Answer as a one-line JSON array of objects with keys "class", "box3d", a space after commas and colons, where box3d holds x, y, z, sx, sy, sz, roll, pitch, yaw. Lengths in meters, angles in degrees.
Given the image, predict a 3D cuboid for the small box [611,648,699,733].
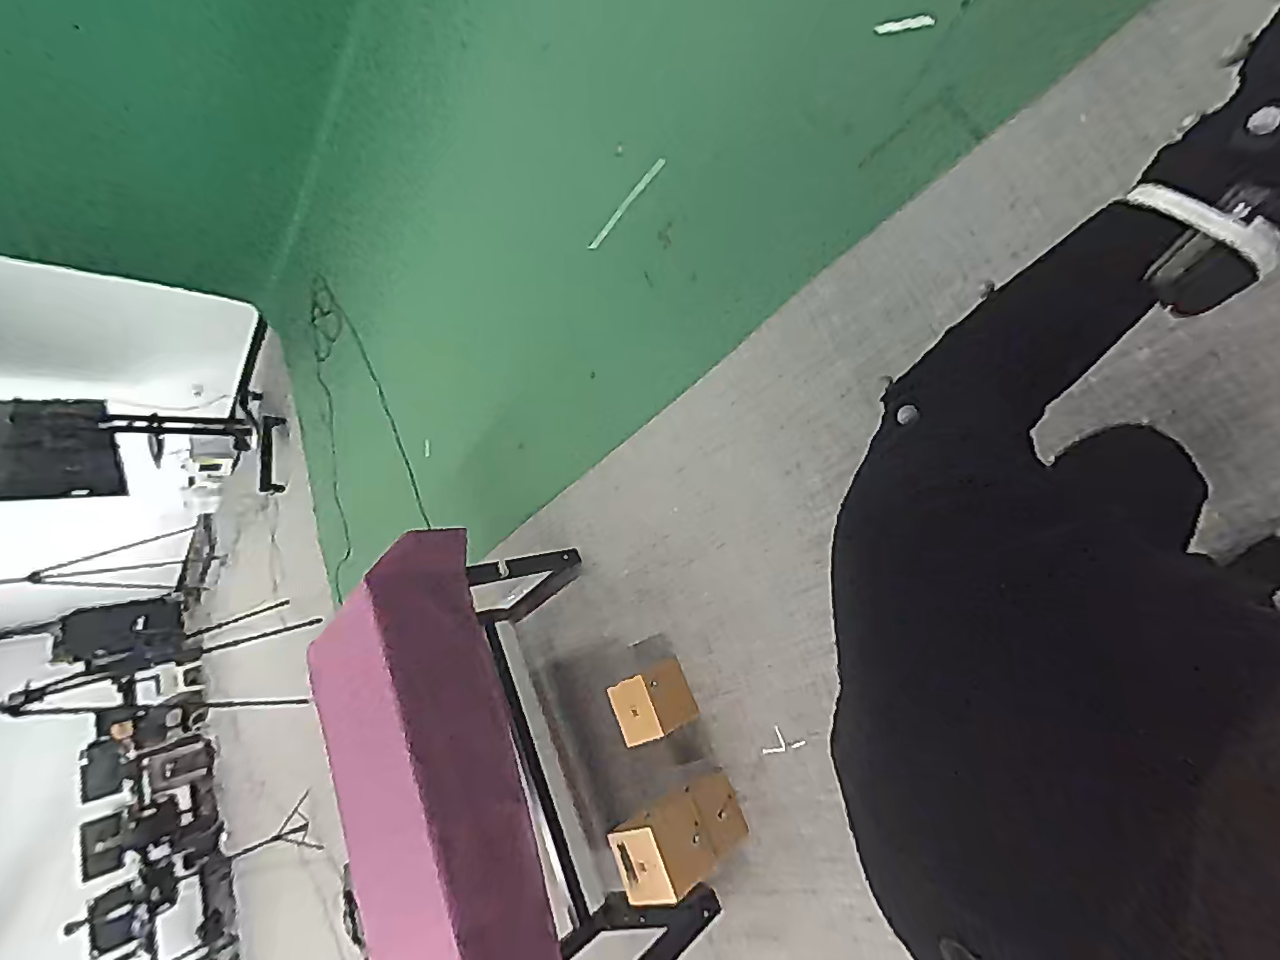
[{"class": "small box", "box3d": [0.048, 0.634, 1.635, 0.168, 0.176, 0.179, -38, 67, 37]}]
